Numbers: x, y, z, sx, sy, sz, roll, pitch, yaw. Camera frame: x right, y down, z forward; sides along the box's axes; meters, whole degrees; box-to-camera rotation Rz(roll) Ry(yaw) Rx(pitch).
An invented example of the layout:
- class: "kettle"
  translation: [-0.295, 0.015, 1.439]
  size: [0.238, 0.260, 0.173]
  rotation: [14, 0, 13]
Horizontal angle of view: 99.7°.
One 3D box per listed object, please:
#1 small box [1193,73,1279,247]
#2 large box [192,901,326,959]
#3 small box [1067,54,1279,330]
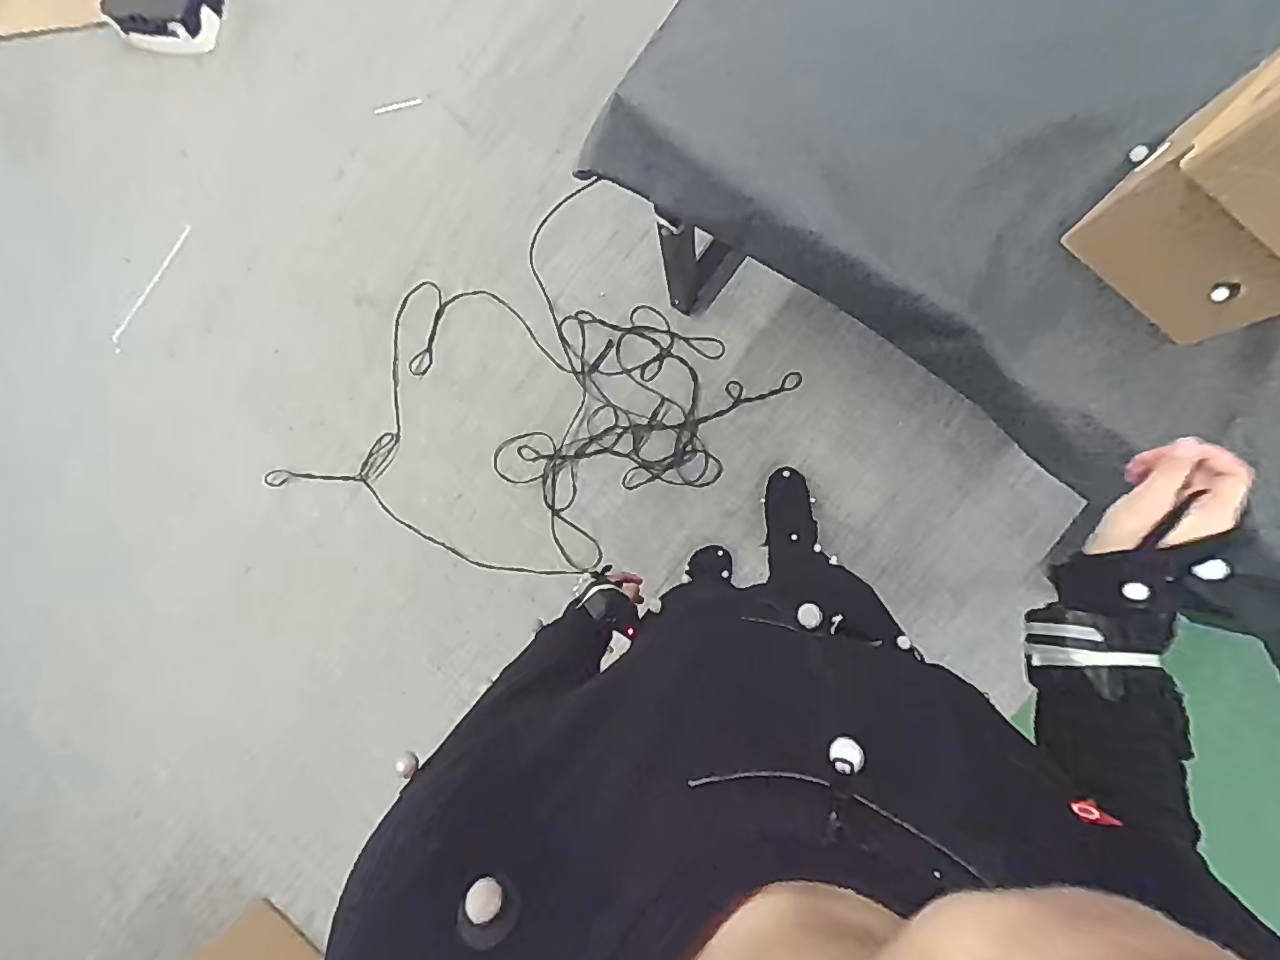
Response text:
- class: "small box"
  translation: [0.549, -0.257, 0.352]
  size: [0.168, 0.176, 0.179]
  rotation: [-43, 84, 2]
- class: "large box"
  translation: [-0.966, 1.356, 1.290]
  size: [0.408, 0.320, 0.320]
  rotation: [37, 92, 8]
- class: "small box"
  translation: [0.579, -0.266, 0.513]
  size: [0.168, 0.176, 0.179]
  rotation: [-45, 83, 2]
